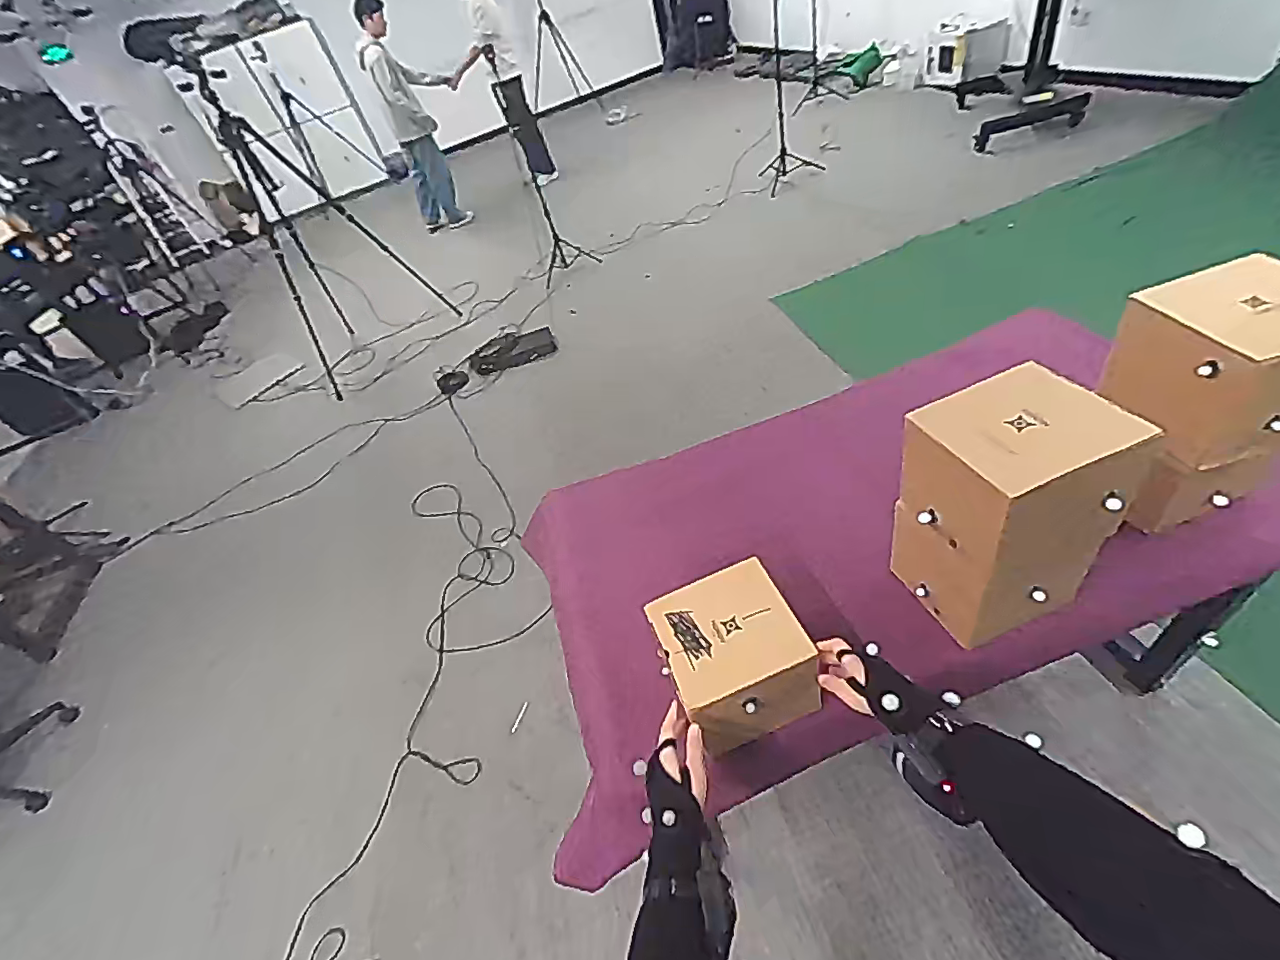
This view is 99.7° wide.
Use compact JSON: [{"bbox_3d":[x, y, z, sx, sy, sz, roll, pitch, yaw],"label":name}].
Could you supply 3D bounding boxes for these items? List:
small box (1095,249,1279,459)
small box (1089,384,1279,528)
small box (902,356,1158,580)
[{"bbox_3d":[0.732,-0.156,0.679,0.168,0.176,0.179,-18,43,4],"label":"small box"},{"bbox_3d":[0.784,-0.061,0.803,0.179,0.176,0.168,-23,41,-2],"label":"small box"},{"bbox_3d":[0.439,-0.014,0.648,0.179,0.176,0.168,-23,41,-1],"label":"small box"}]
